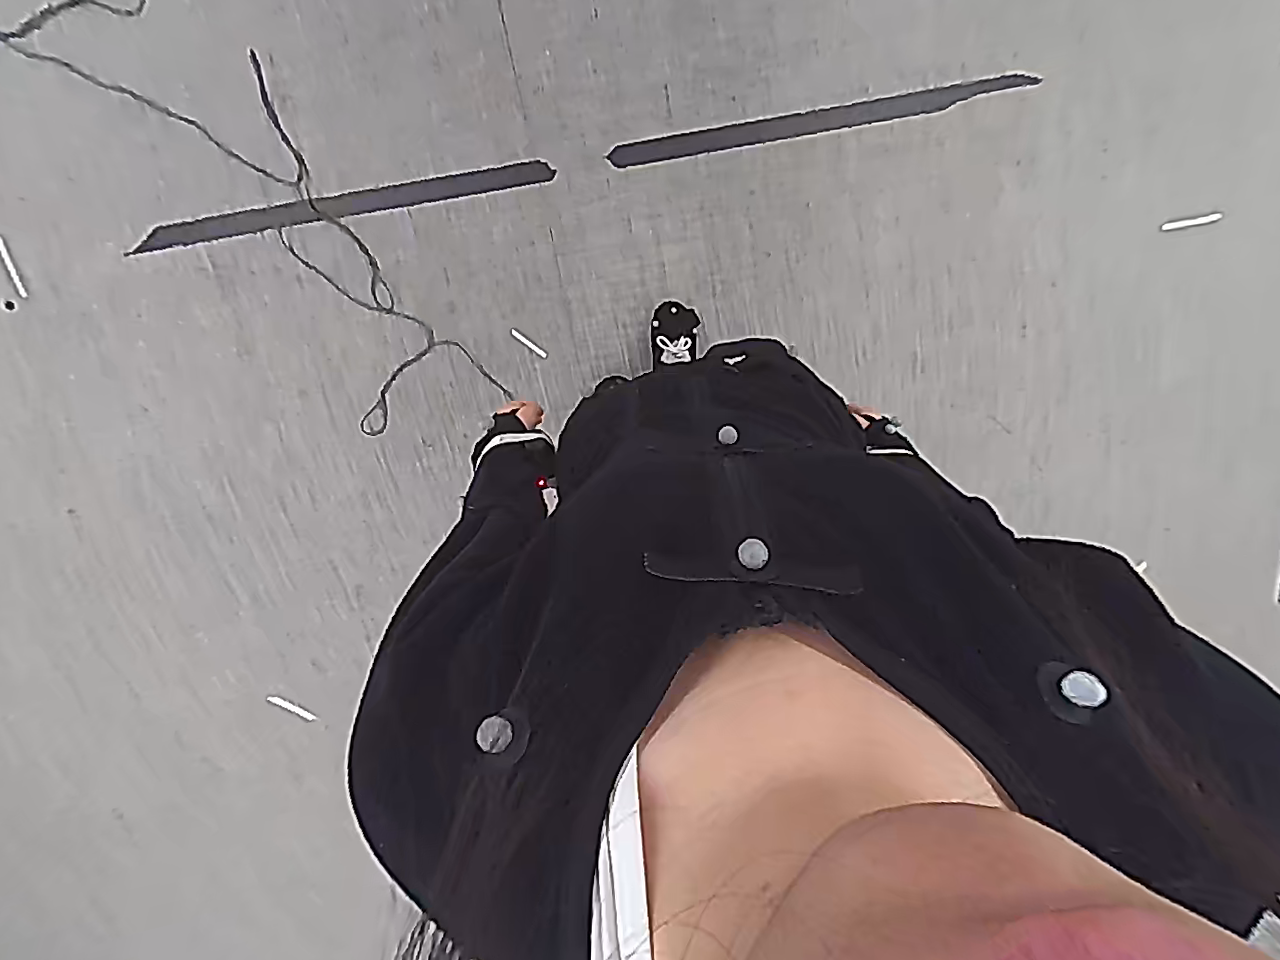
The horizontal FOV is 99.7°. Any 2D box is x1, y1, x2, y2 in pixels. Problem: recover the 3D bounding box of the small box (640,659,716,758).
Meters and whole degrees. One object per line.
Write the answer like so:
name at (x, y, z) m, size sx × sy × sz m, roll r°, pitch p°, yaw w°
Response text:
small box at (0.106, 0.657, 1.571) m, size 0.168 × 0.176 × 0.179 m, roll -20°, pitch 105°, yaw 1°
